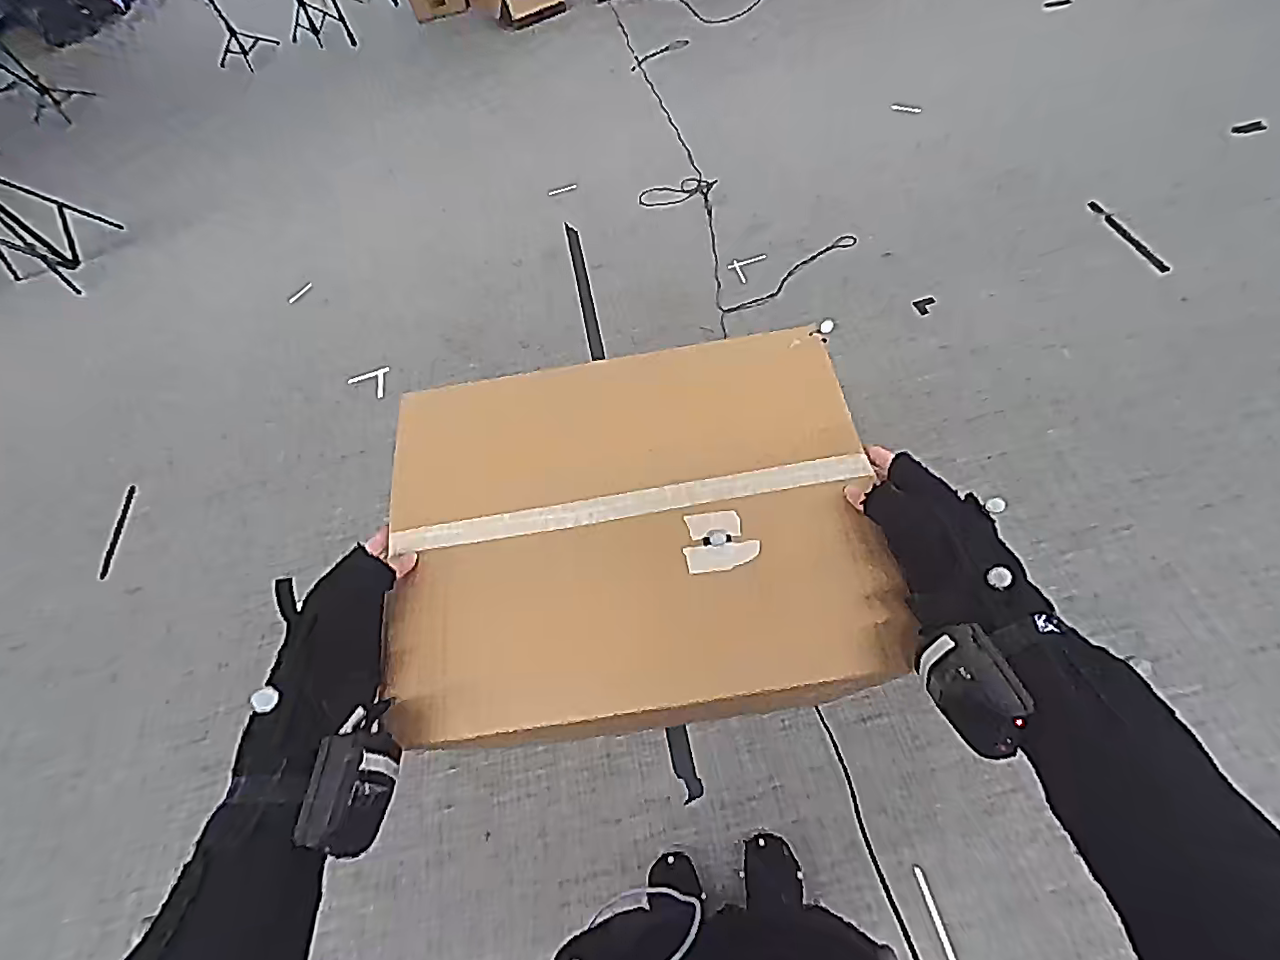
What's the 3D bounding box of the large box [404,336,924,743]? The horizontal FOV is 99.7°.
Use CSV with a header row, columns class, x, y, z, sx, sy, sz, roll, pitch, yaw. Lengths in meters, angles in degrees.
class,x,y,z,sx,sy,sz,roll,pitch,yaw
large box,0.006,0.090,0.600,0.408,0.320,0.320,-9,64,0
